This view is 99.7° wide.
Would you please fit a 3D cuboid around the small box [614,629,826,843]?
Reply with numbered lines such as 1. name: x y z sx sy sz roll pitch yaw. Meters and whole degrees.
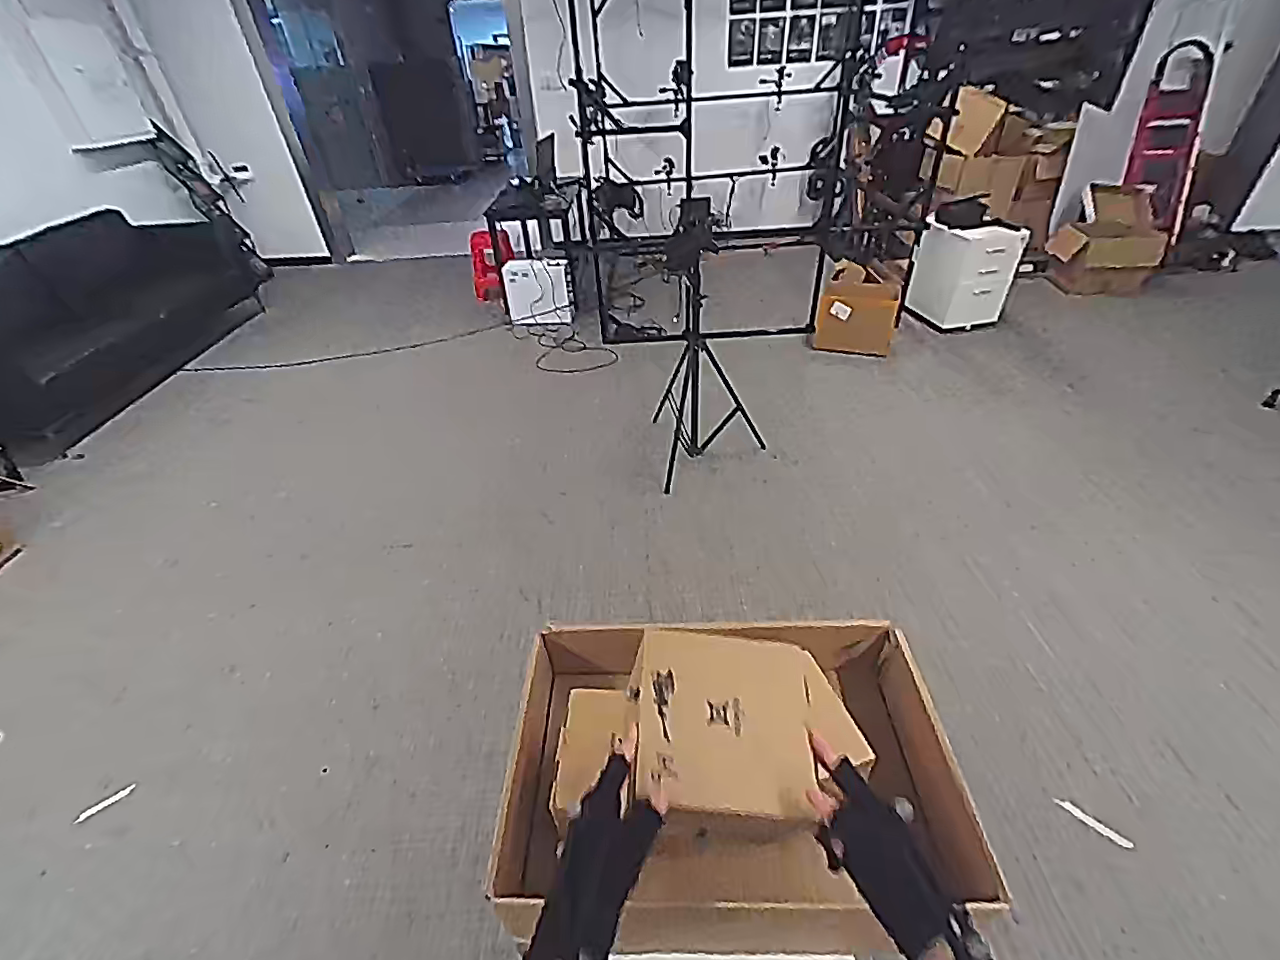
1. small box: 0.075 0.282 0.585 0.179 0.176 0.168 9 50 -4
